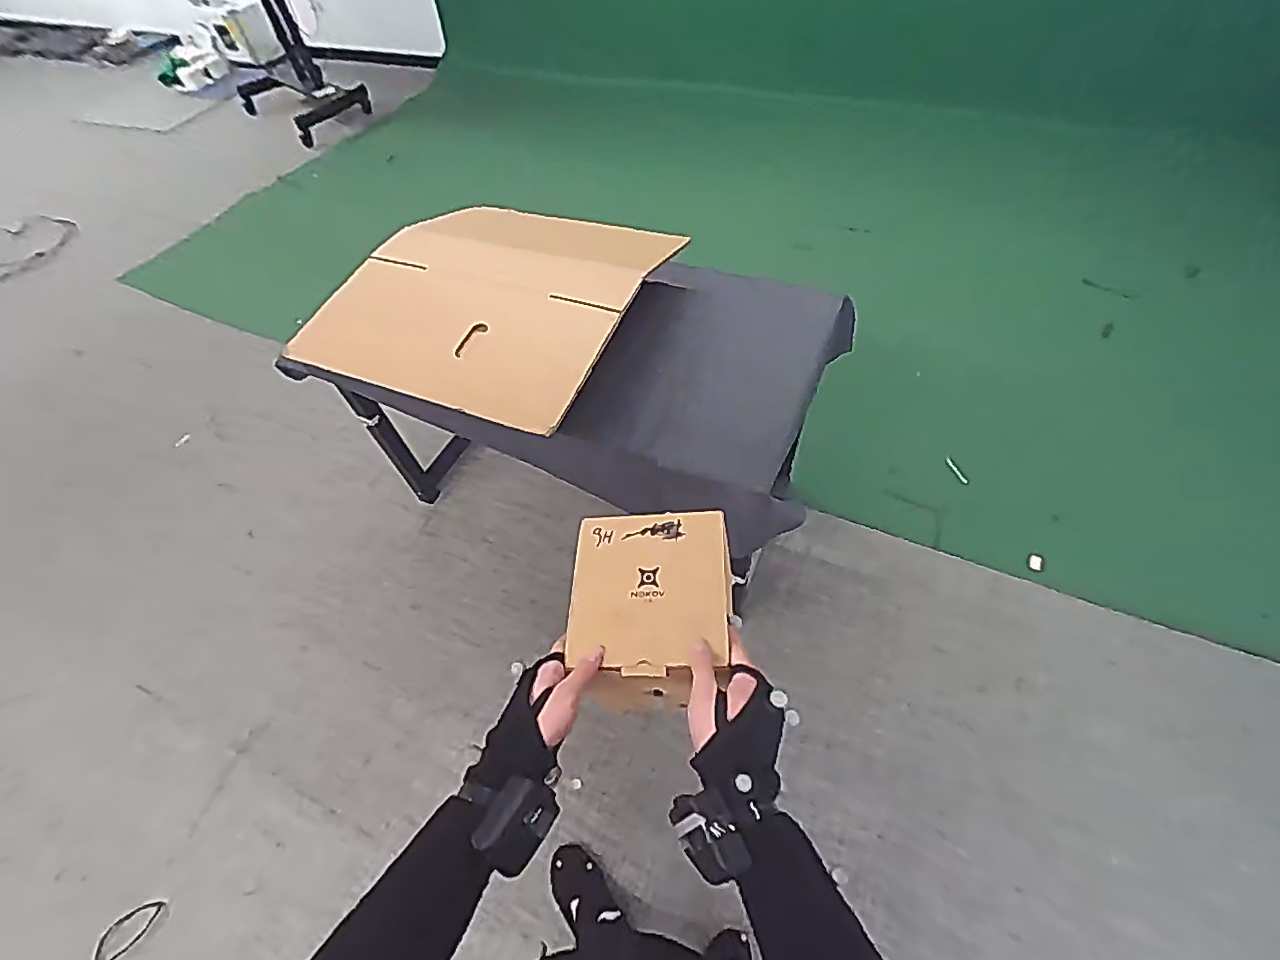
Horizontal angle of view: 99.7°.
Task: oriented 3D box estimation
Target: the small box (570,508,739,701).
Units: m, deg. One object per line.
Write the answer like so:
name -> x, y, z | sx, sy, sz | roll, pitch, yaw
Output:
small box -> 0.025, 0.156, 0.641 | 0.168, 0.176, 0.179 | -6, 54, 9
